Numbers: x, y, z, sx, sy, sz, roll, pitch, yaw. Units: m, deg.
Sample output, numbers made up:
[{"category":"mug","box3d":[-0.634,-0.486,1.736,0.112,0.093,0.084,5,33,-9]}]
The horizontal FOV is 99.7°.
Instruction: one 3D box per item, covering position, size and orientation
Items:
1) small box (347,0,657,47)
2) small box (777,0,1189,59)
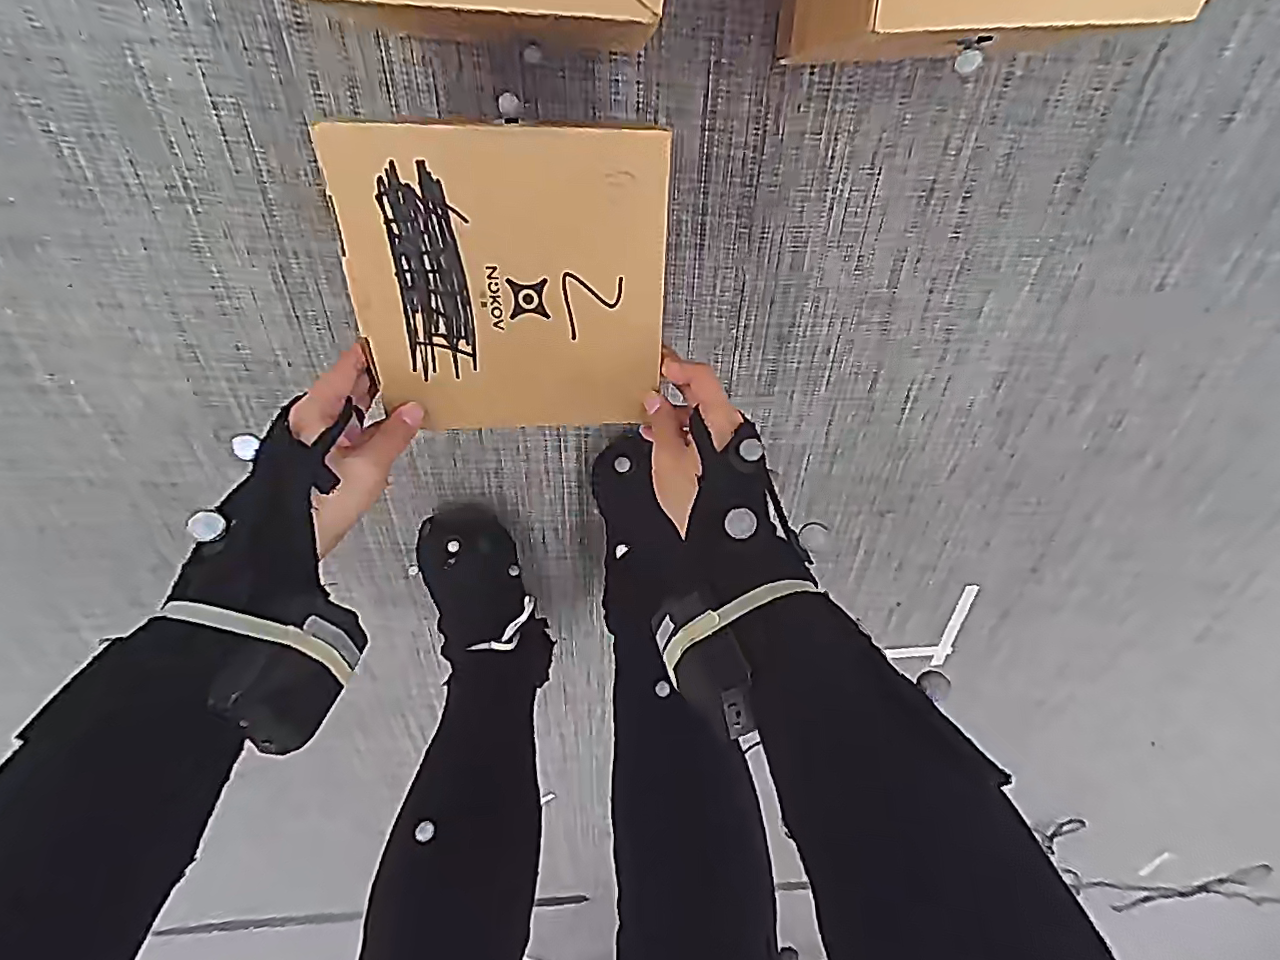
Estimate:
[{"category":"small box","box3d":[-0.076,-0.338,0.280,0.179,0.176,0.168,-1,124,-6]},{"category":"small box","box3d":[0.193,-0.349,0.304,0.179,0.176,0.168,-4,124,-2]}]
